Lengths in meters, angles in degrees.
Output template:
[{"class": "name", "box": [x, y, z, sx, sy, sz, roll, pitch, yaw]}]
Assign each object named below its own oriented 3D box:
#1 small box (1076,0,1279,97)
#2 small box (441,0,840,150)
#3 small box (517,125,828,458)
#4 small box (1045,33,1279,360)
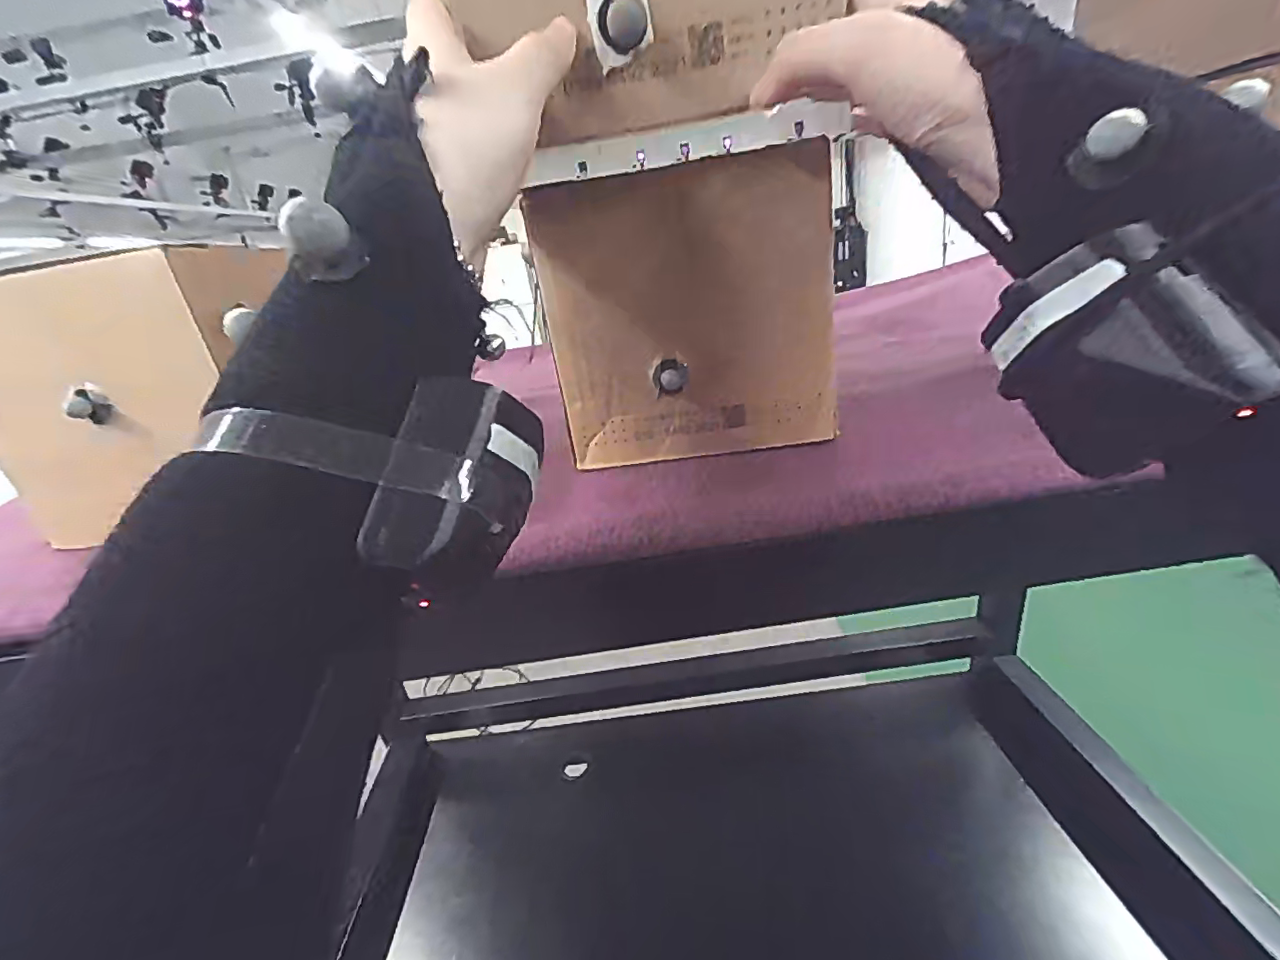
[{"class": "small box", "box": [0.383, -0.334, 0.294, 0.168, 0.176, 0.179, -8, 24, 8]}, {"class": "small box", "box": [-0.012, -0.272, 0.263, 0.168, 0.176, 0.179, -12, 33, 2]}, {"class": "small box", "box": [0.030, -0.126, 0.387, 0.168, 0.176, 0.179, -7, 23, 7]}, {"class": "small box", "box": [0.411, -0.185, 0.359, 0.168, 0.176, 0.179, -7, 25, 8]}]
